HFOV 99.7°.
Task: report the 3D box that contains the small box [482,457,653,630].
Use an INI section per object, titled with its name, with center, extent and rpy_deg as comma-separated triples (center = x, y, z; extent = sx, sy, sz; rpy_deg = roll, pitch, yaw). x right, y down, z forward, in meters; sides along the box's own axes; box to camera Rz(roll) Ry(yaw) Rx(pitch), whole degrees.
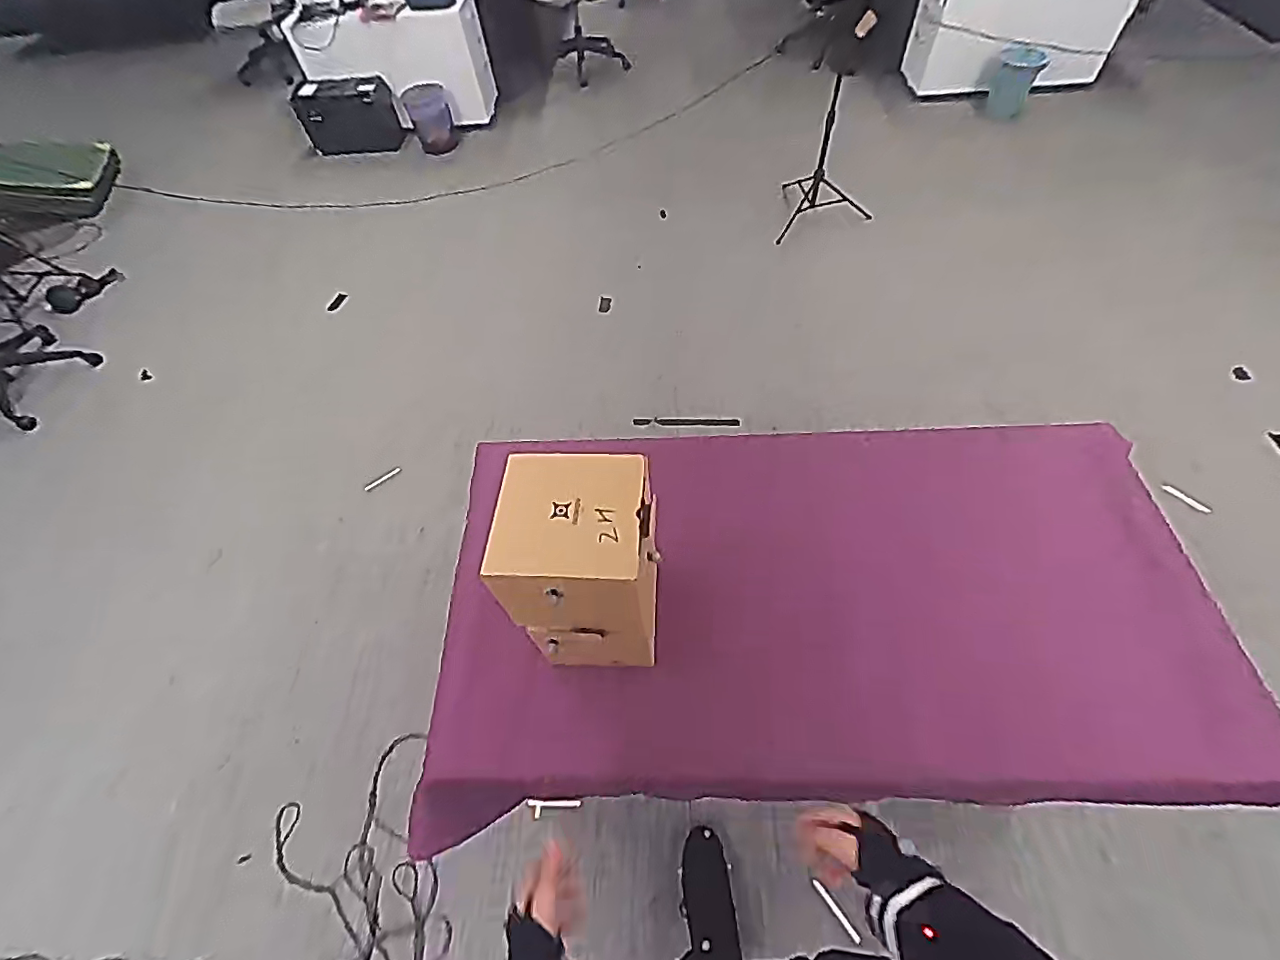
[small box]
center = -0.078, 0.086, 0.696
extent = 0.179, 0.176, 0.168
rpy_deg = 1, 57, 5
